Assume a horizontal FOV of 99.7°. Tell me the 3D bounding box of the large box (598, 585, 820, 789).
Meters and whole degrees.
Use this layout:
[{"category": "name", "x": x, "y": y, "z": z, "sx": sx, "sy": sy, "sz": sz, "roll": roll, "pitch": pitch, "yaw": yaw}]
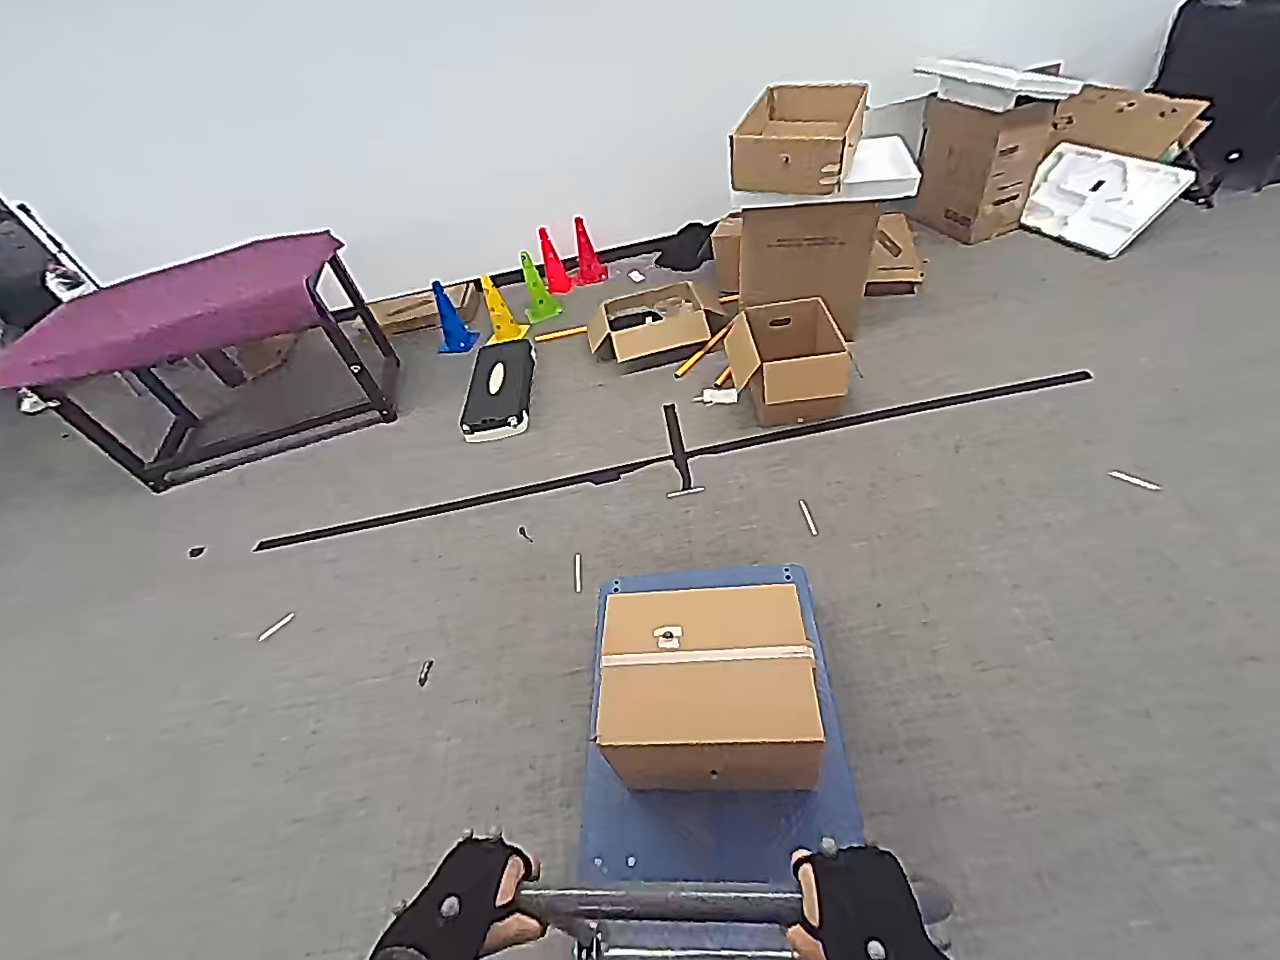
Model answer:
[{"category": "large box", "x": 0.149, "y": 0.456, "z": 1.171, "sx": 0.408, "sy": 0.320, "sz": 0.320, "roll": -7, "pitch": 45, "yaw": 9}]
